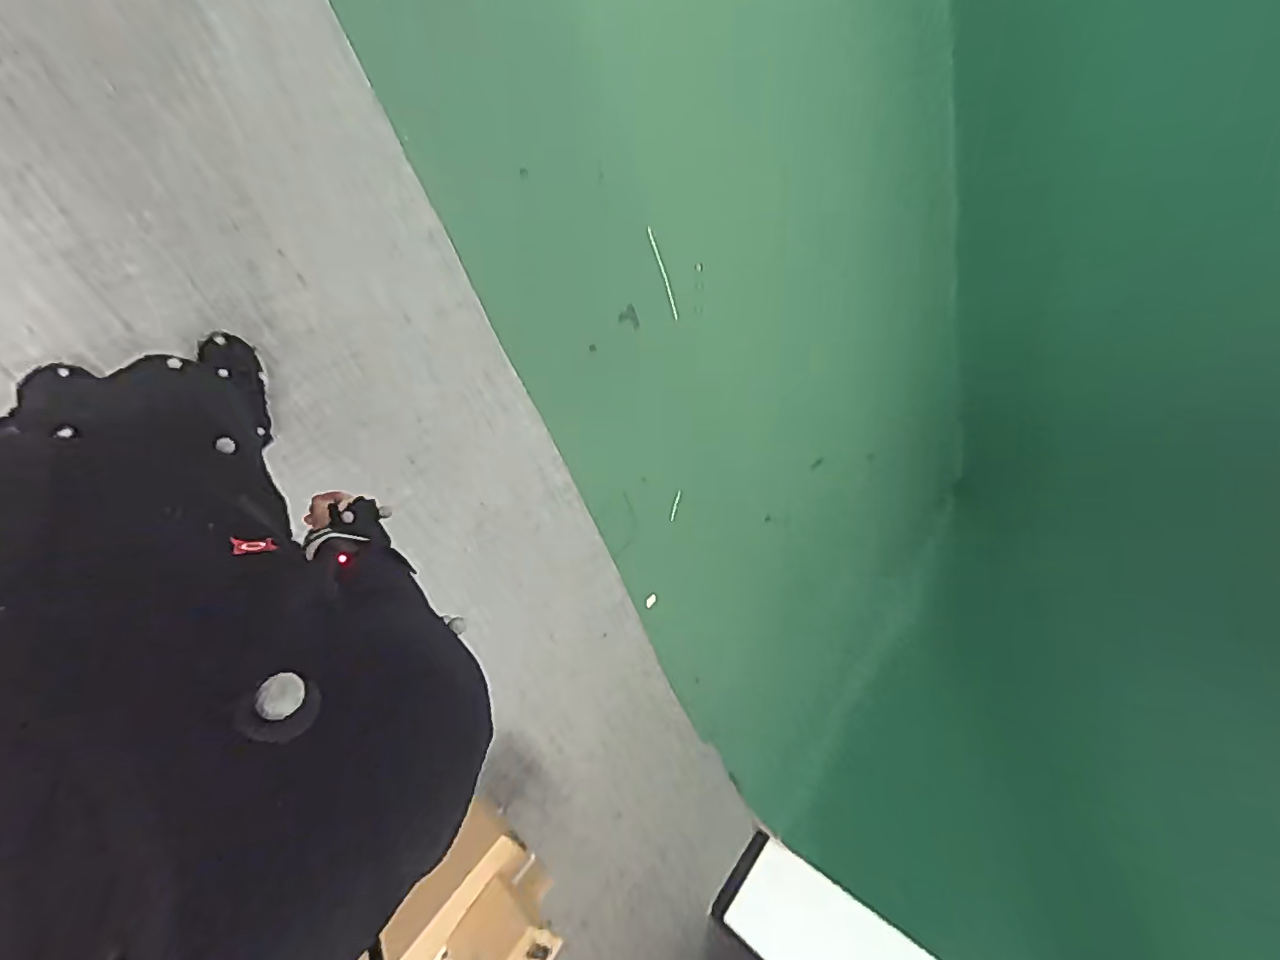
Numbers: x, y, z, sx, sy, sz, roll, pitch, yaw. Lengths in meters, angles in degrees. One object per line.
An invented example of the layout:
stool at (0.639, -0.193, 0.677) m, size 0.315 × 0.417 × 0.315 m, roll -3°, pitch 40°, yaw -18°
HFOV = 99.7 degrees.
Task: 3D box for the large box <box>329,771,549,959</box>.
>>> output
large box at (-0.533, 1.105, 1.466) m, size 0.408 × 0.320 × 0.320 m, roll -44°, pitch 126°, yaw -26°
